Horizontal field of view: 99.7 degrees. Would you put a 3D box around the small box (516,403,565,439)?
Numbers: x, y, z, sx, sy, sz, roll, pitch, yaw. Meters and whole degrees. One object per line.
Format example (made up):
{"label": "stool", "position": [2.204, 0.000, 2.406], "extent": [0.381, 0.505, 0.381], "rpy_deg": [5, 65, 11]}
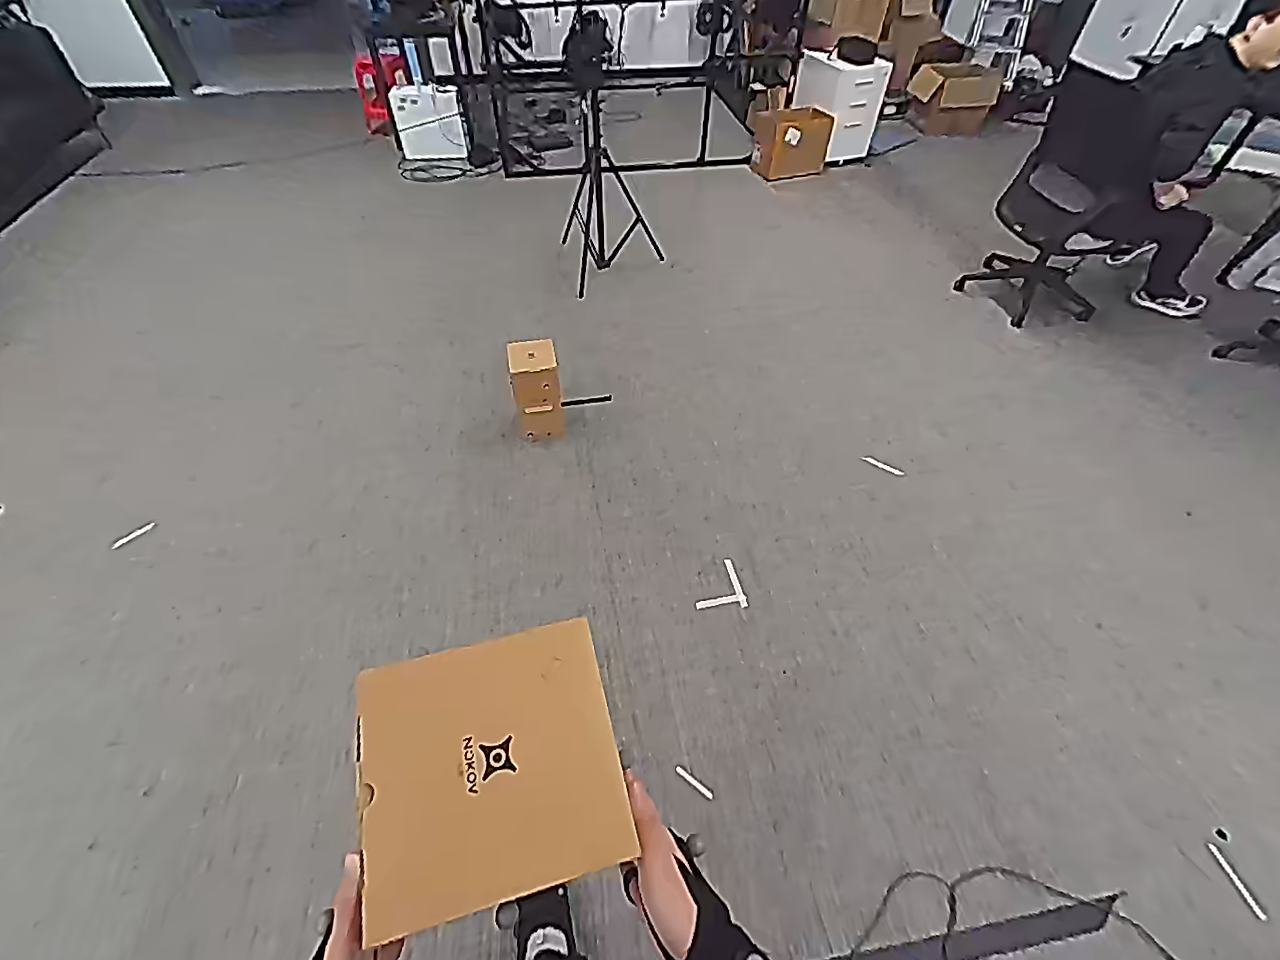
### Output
{"label": "small box", "position": [-0.390, -0.274, 2.102], "extent": [0.168, 0.176, 0.179], "rpy_deg": [-9, 49, -8]}

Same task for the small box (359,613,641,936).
{"label": "small box", "position": [-0.108, 0.229, 0.447], "extent": [0.179, 0.176, 0.168], "rpy_deg": [-12, 62, -10]}

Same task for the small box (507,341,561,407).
{"label": "small box", "position": [-0.387, -0.381, 1.980], "extent": [0.168, 0.176, 0.179], "rpy_deg": [-9, 49, -10]}
